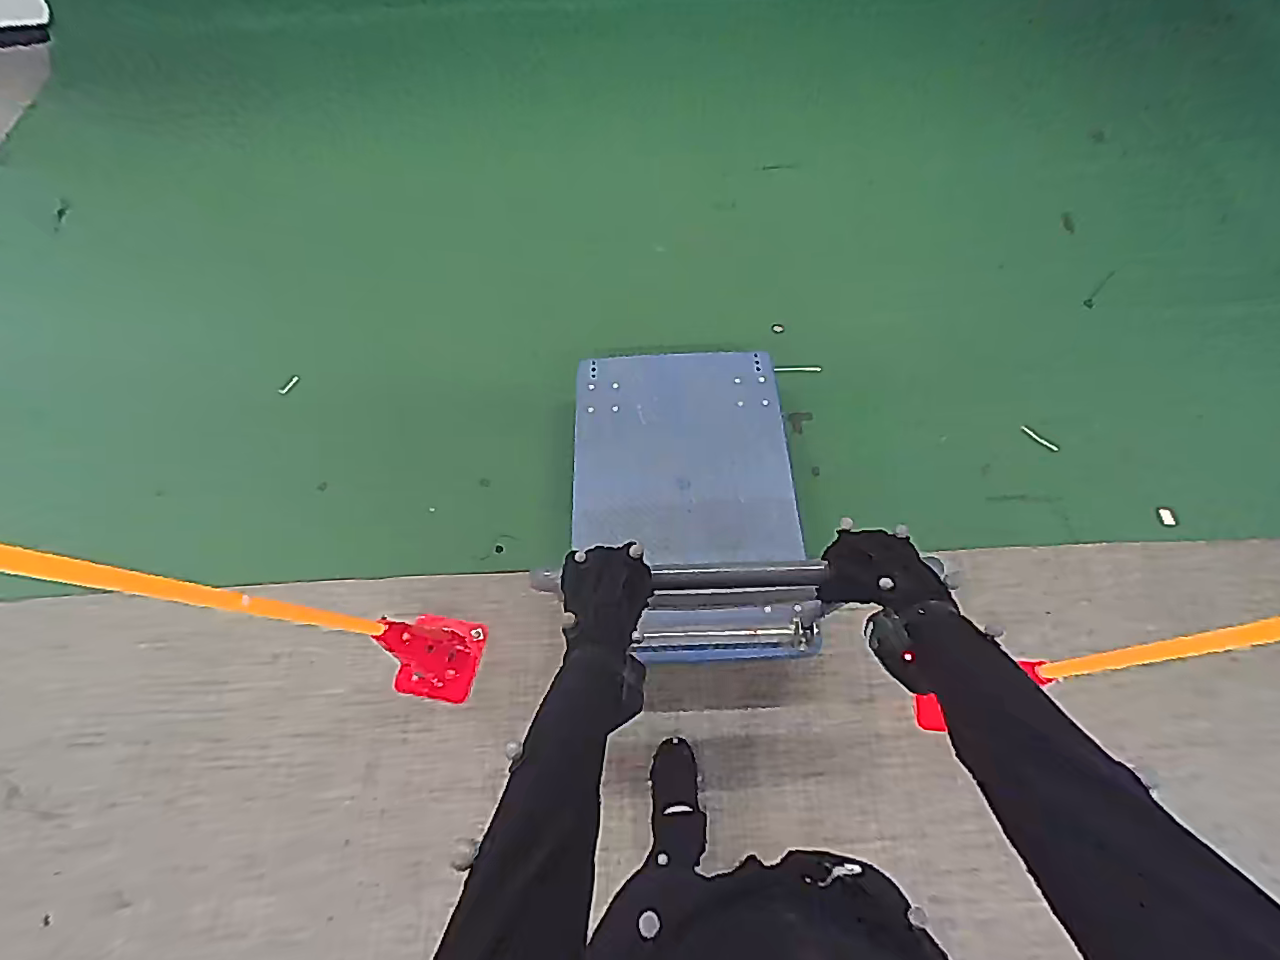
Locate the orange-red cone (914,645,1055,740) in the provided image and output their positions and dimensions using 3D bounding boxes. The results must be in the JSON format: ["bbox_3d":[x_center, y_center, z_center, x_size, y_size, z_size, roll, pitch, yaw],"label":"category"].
[{"bbox_3d":[0.770,0.440,1.173,0.198,0.360,0.199,7,64,6],"label":"orange-red cone"}]
